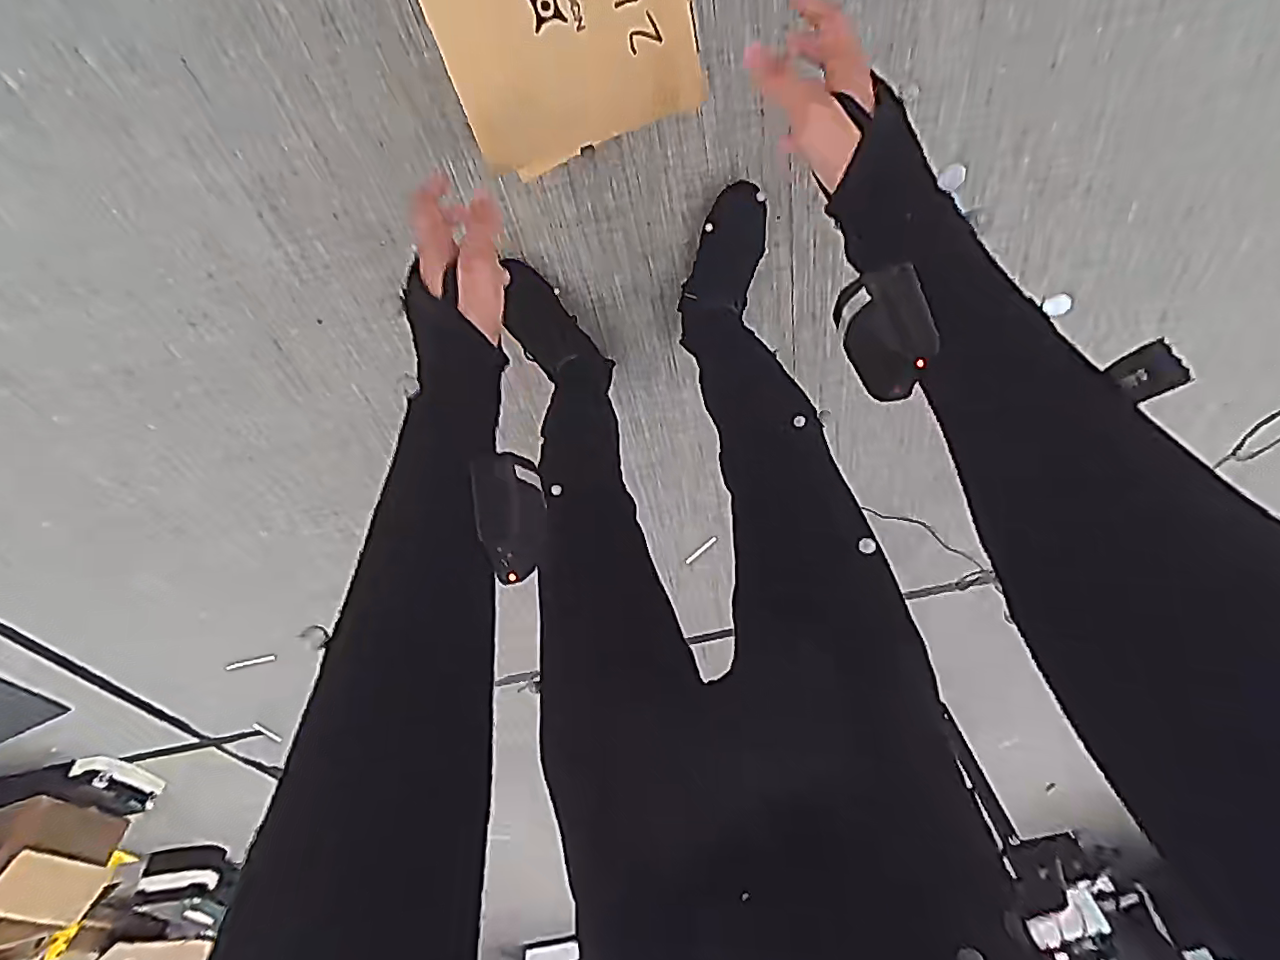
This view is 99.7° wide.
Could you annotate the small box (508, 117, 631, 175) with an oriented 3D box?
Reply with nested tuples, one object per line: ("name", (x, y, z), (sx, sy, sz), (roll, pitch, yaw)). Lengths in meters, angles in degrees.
("small box", (-0.126, -0.532, 0.694), (0.168, 0.176, 0.179), (-21, 131, 10))

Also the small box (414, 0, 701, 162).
("small box", (-0.065, -0.369, 0.409), (0.179, 0.176, 0.168), (-15, 131, 6))
